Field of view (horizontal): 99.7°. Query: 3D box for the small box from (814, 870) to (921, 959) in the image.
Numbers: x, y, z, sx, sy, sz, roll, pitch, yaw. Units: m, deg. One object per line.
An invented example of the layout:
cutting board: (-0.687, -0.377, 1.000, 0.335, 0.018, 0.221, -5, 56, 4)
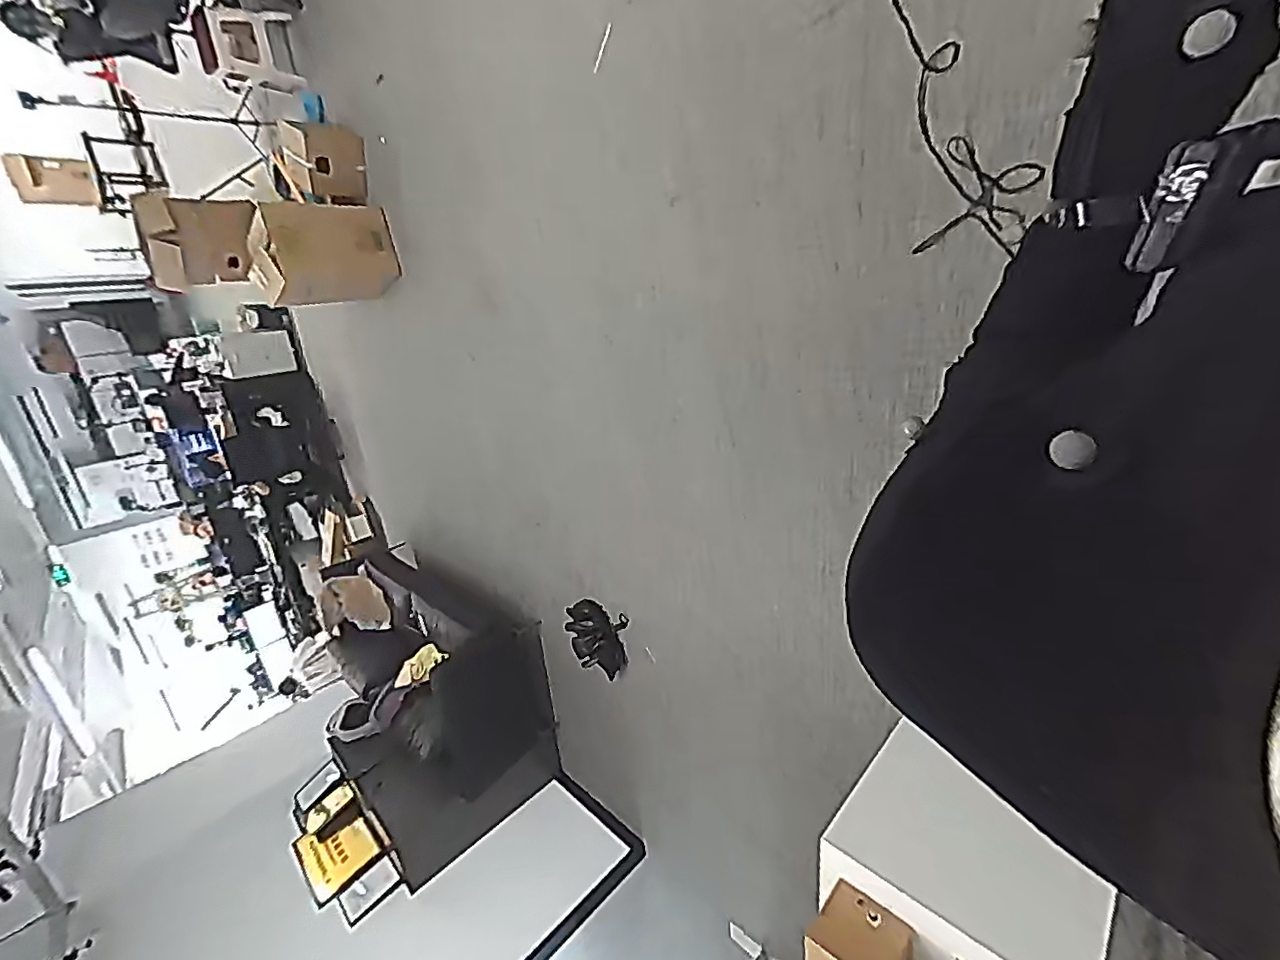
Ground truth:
small box: (0.497, 1.019, 1.180, 0.168, 0.176, 0.179, 10, 114, 45)
